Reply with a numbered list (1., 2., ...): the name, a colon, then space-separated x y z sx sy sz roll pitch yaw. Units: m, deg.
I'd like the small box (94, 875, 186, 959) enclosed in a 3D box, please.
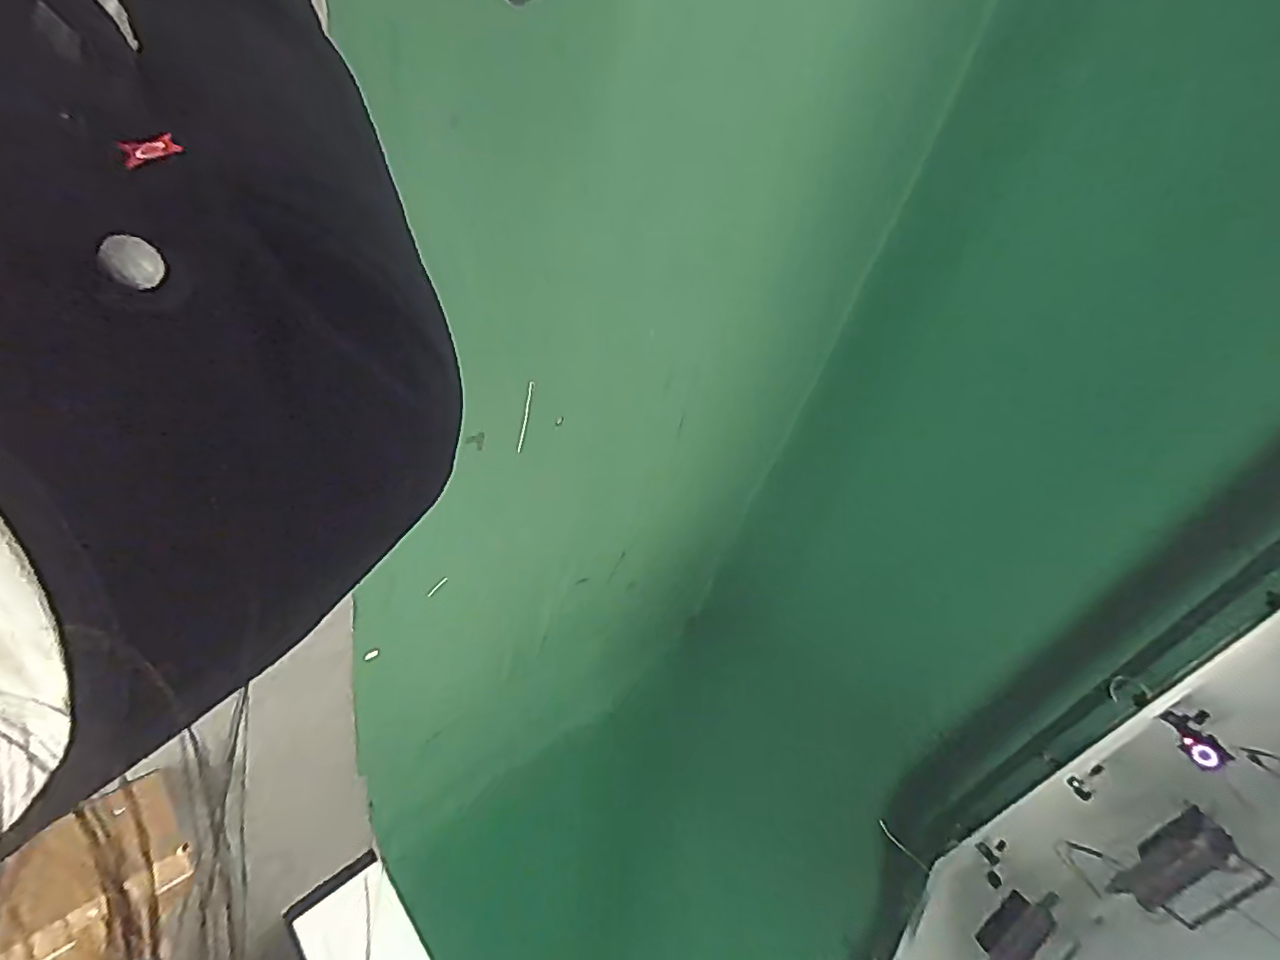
1. small box: -1.486 1.341 1.606 0.179 0.176 0.168 -15 131 -47
